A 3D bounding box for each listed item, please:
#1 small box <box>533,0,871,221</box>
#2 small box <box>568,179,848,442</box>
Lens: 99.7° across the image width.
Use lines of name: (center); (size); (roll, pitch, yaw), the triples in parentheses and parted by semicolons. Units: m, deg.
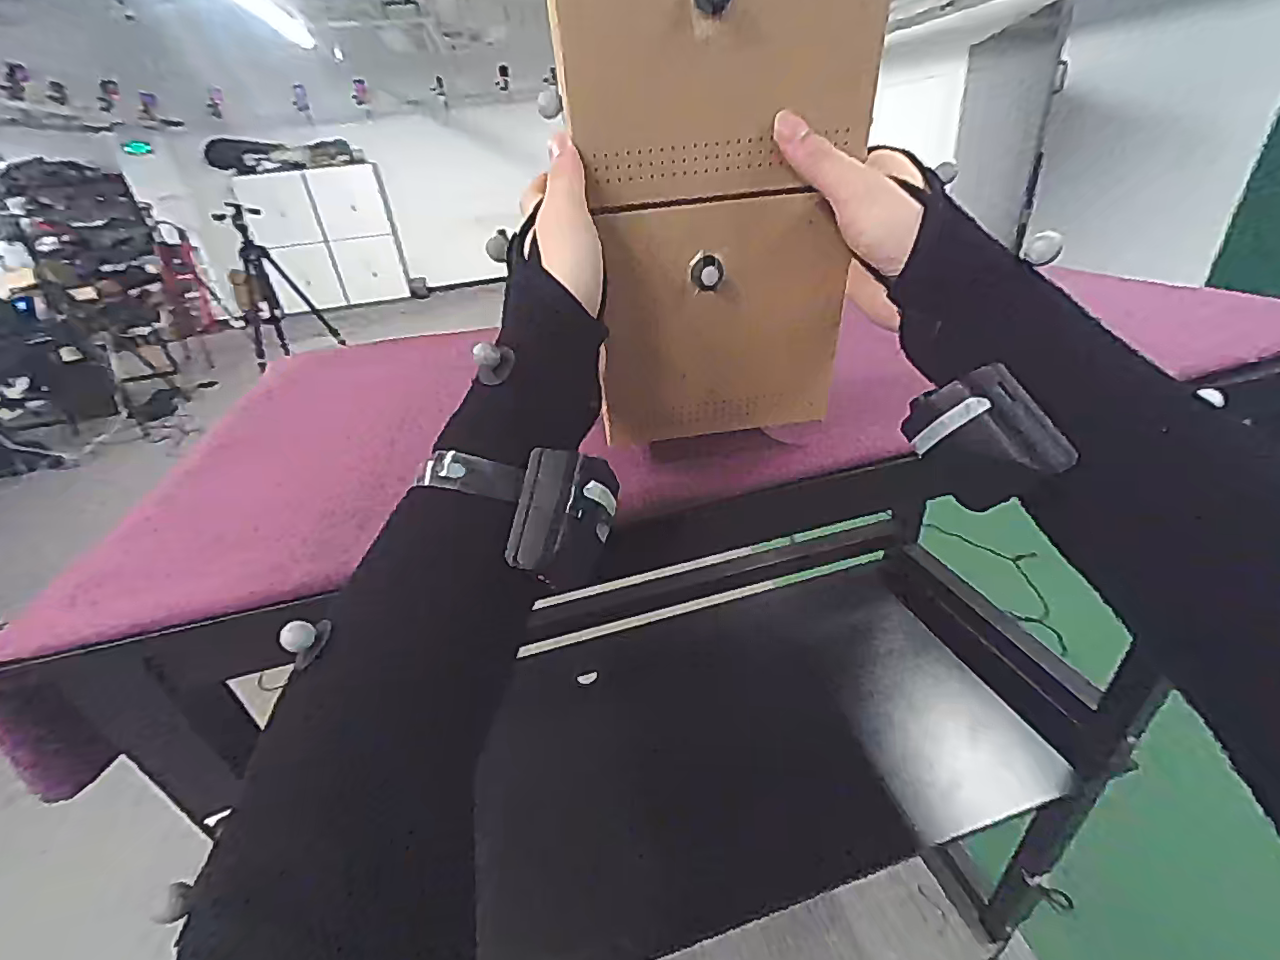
small box: (0.028, -0.274, 0.337); (0.179, 0.176, 0.168); (-8, 37, -2)
small box: (0.043, -0.144, 0.436); (0.179, 0.176, 0.168); (-8, 37, -2)
